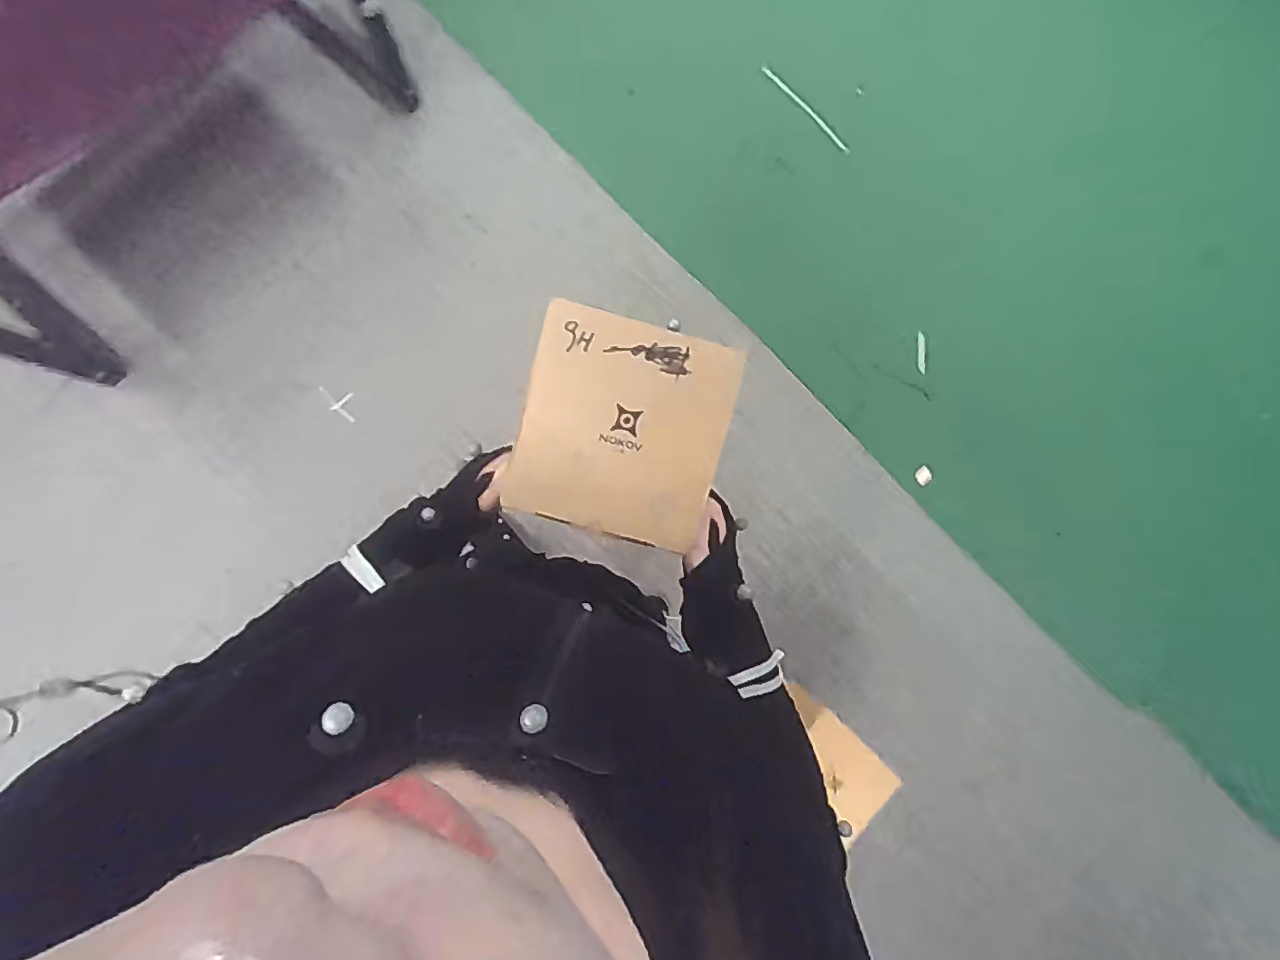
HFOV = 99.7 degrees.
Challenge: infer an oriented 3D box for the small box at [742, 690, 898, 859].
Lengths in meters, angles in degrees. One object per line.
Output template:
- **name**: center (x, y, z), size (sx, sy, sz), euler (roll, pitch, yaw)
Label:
- **small box**: center (0.311, 0.513, 0.974), size (0.179, 0.176, 0.168), euler (45, 85, 2)

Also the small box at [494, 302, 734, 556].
- **small box**: center (-0.024, -0.049, 0.520), size (0.168, 0.176, 0.179), euler (14, 97, -4)
